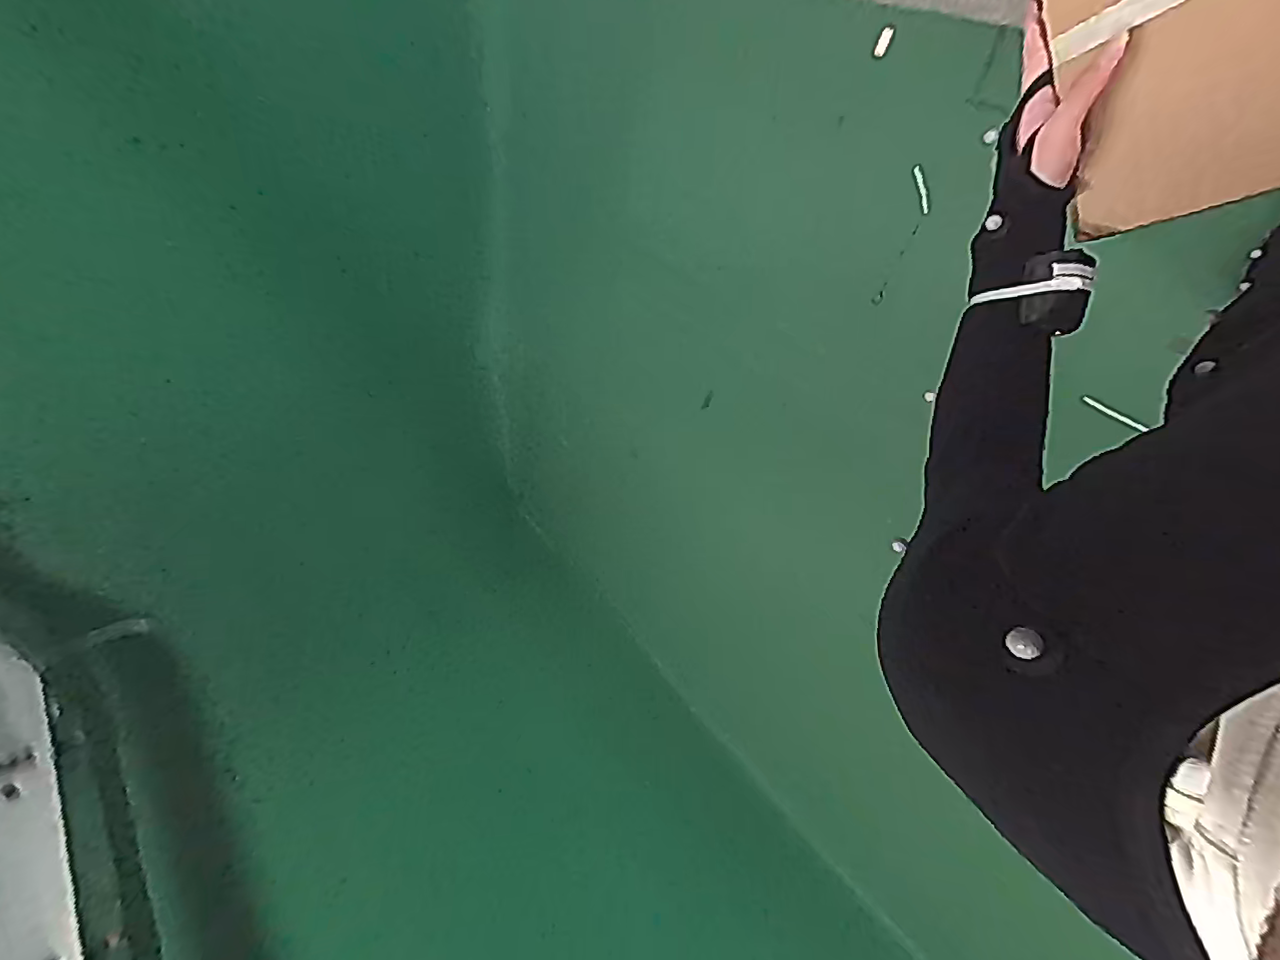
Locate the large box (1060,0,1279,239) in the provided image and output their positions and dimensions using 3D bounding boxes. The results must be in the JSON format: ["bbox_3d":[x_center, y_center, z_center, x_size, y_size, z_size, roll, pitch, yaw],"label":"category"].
[{"bbox_3d":[0.588,-0.410,0.376,0.408,0.320,0.320,2,114,55],"label":"large box"}]
